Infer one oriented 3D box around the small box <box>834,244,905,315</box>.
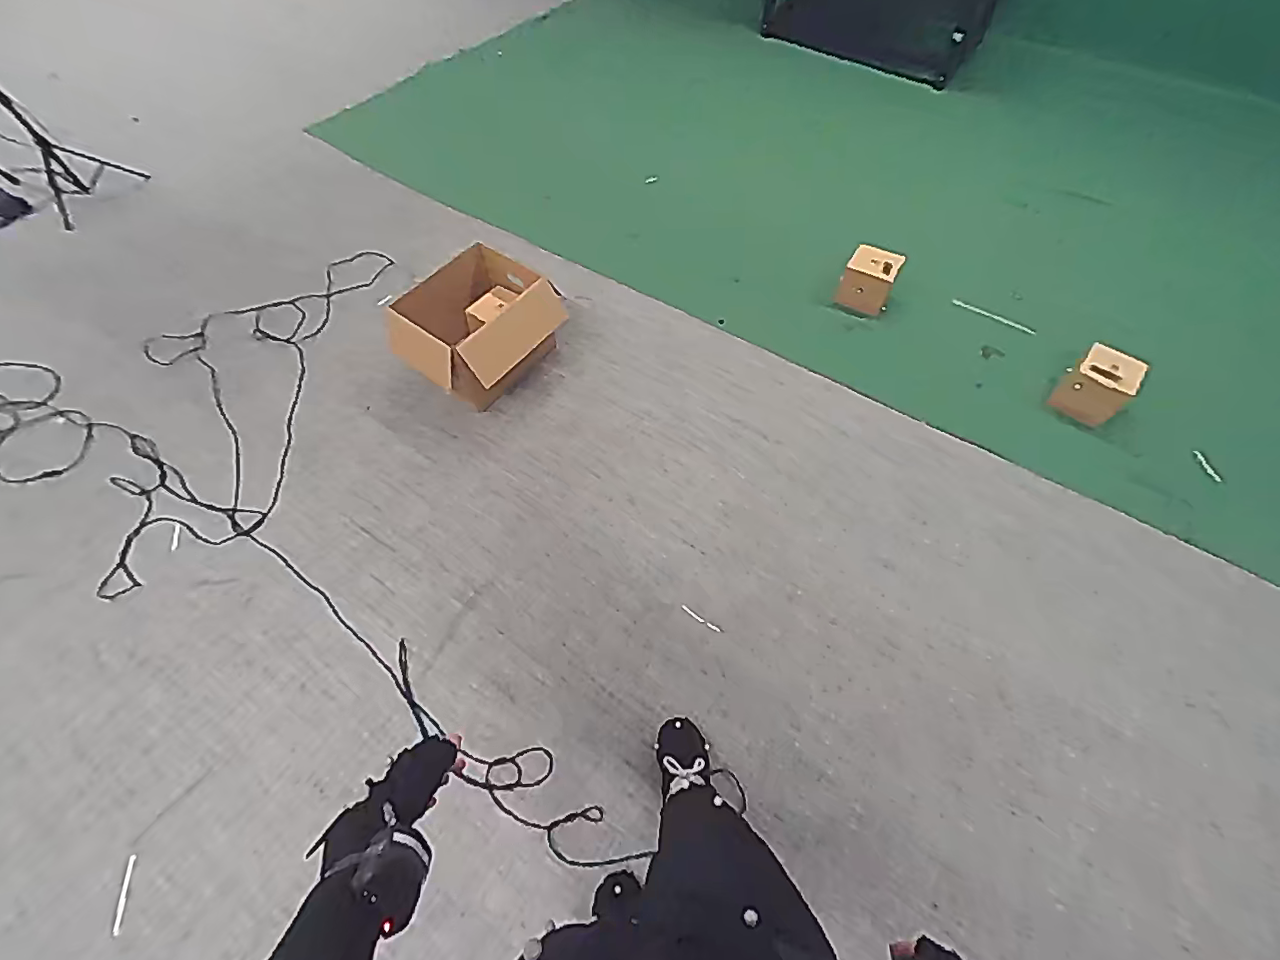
[{"bbox_3d":[0.872,-0.757,2.062,0.179,0.176,0.168,28,62,17],"label":"small box"}]
